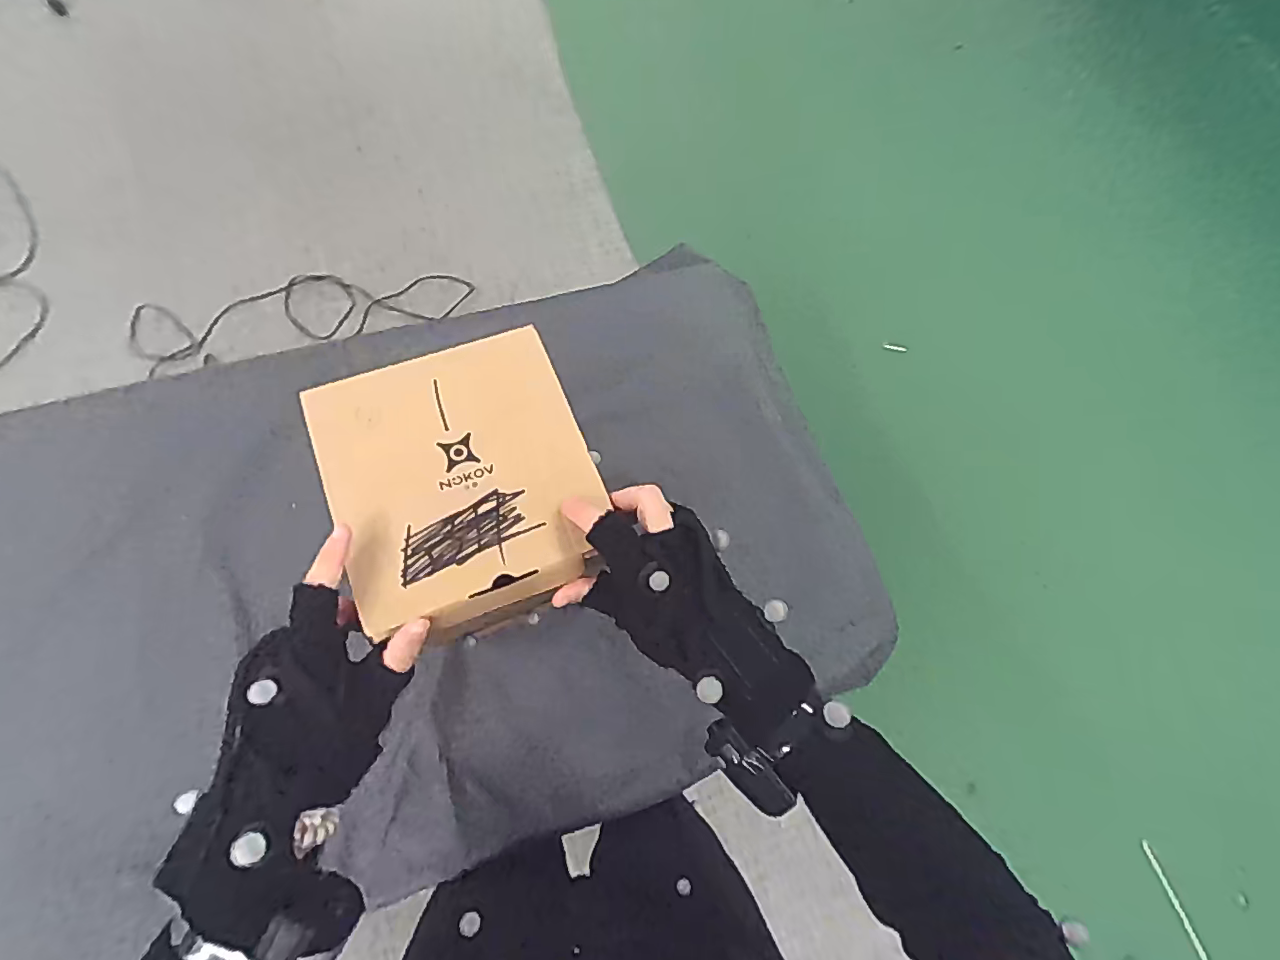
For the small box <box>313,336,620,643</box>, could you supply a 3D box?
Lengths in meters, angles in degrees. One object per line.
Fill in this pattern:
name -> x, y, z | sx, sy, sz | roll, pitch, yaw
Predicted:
small box -> -0.125, 0.020, 0.440 | 0.168, 0.176, 0.179 | -20, 75, -13
